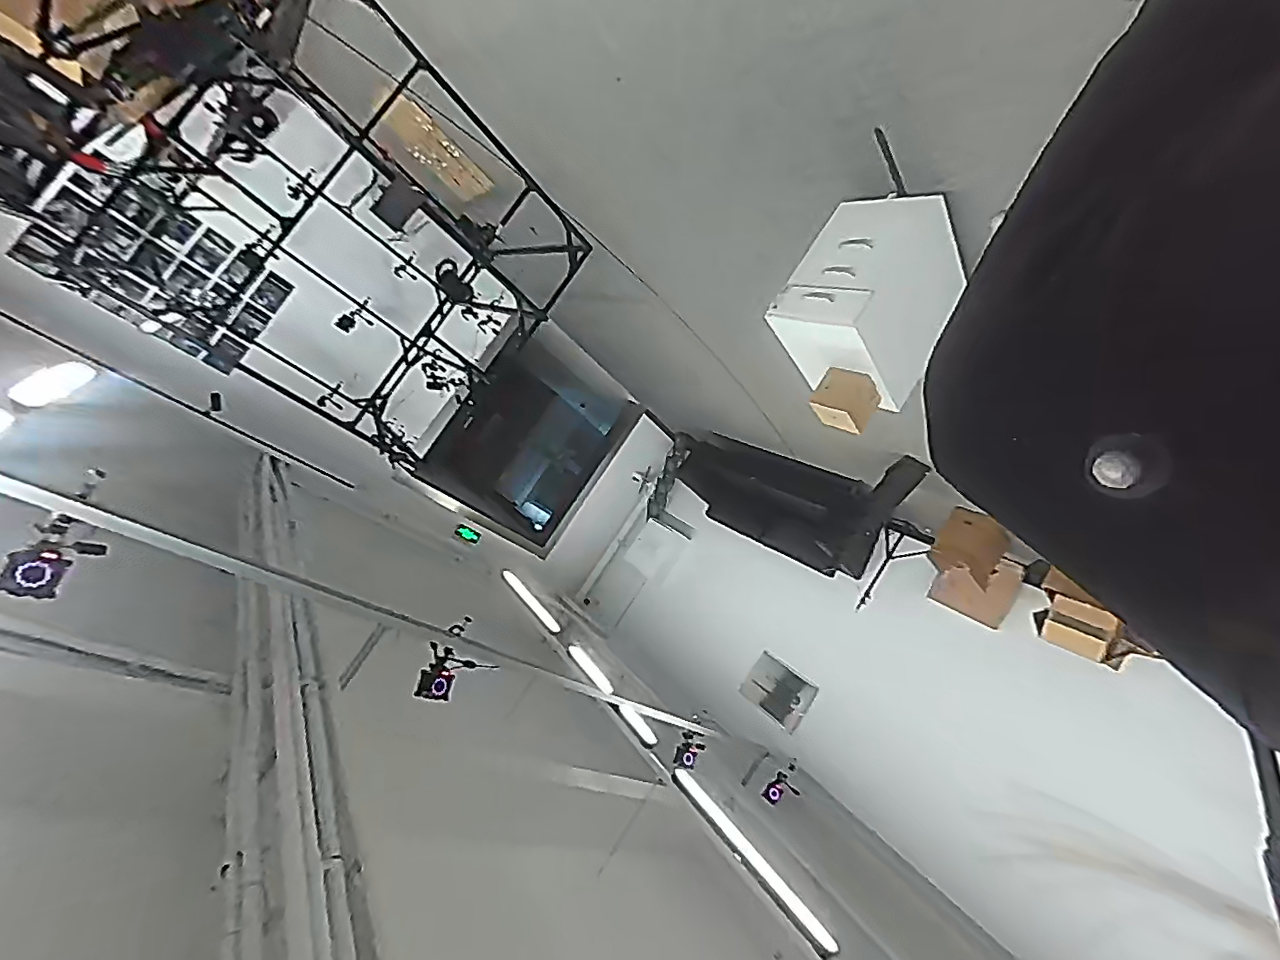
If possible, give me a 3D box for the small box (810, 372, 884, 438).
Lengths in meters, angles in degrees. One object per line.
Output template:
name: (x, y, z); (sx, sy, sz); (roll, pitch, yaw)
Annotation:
small box: (0.790, -0.292, 2.060); (0.168, 0.176, 0.179); (38, 175, -42)
